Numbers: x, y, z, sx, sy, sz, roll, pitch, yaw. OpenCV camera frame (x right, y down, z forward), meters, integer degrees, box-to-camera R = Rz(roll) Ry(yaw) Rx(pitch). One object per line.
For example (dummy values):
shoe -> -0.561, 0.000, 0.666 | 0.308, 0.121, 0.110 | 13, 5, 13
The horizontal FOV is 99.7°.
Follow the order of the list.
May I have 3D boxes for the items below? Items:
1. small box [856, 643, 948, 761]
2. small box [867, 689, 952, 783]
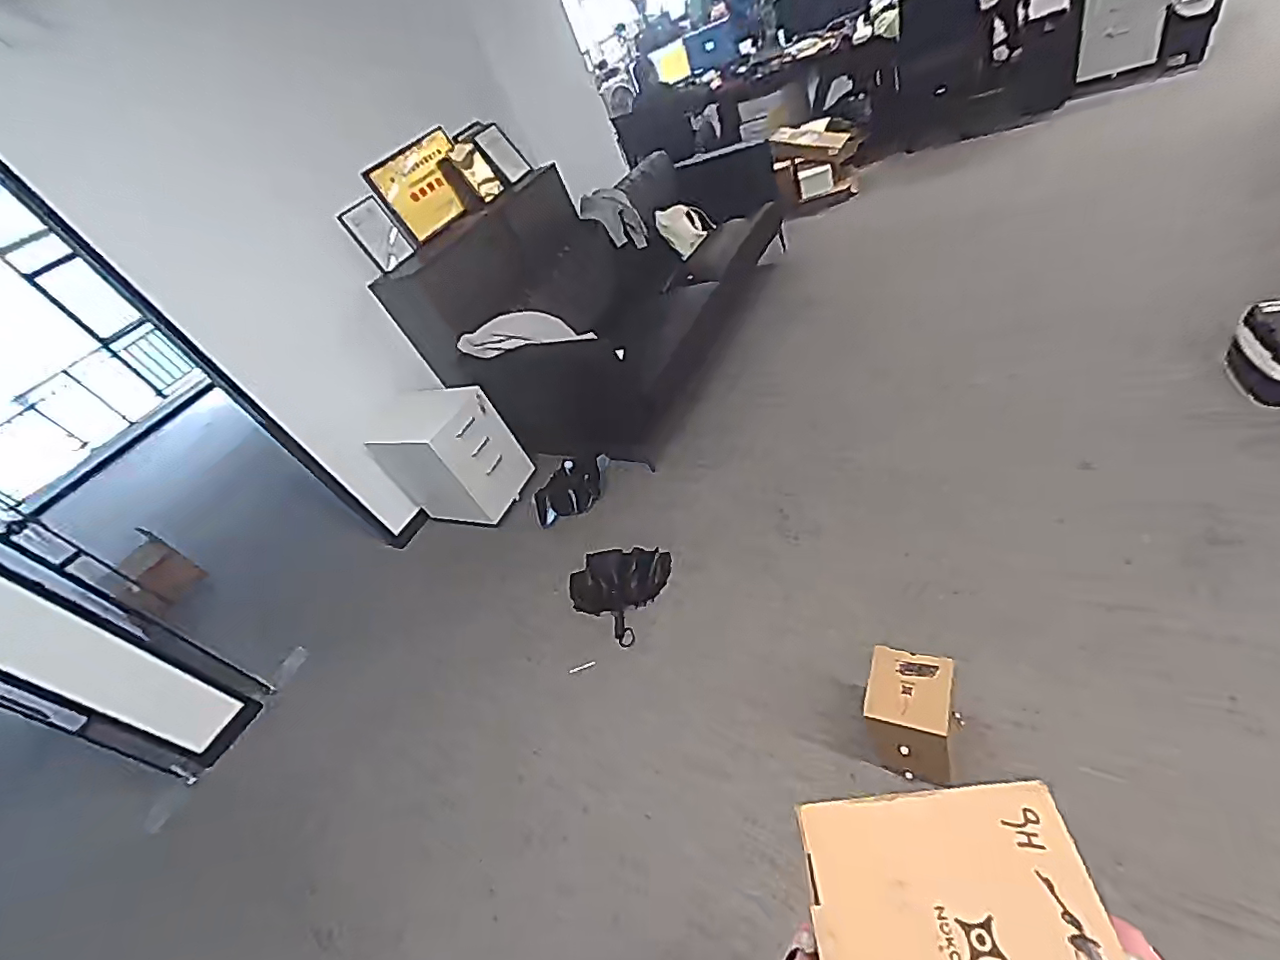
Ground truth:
small box -> 0.610, 0.509, 1.247 | 0.168, 0.176, 0.179 | 2, 48, 35
small box -> 0.678, 0.618, 1.350 | 0.168, 0.176, 0.179 | 2, 49, 35
